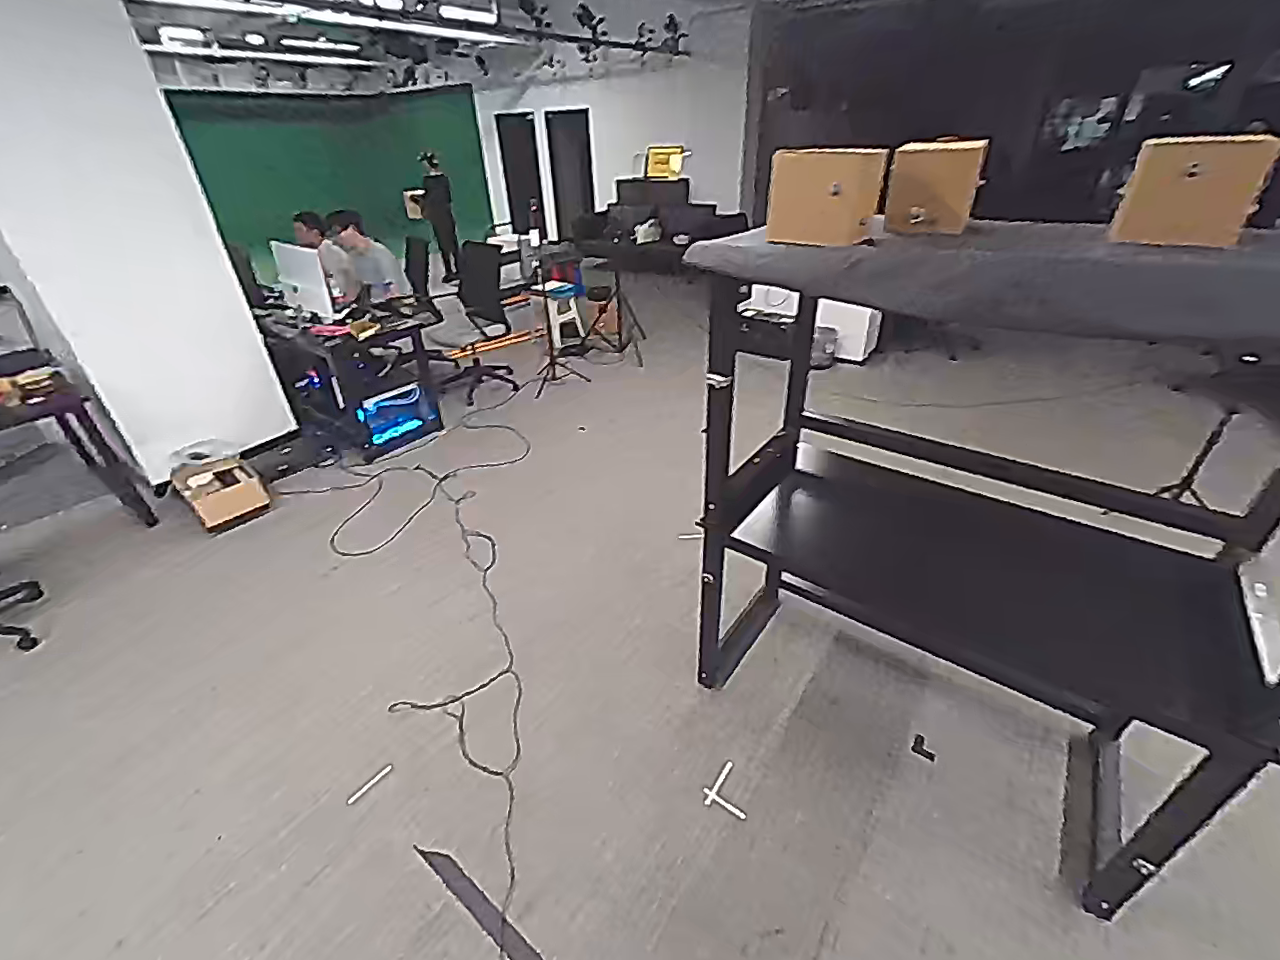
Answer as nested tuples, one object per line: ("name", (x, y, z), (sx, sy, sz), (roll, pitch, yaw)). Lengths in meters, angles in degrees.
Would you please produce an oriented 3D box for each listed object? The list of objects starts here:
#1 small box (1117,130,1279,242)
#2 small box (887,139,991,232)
("small box", (1.029, -0.546, 1.005), (0.179, 0.176, 0.168), (21, 40, 32))
("small box", (0.670, -0.665, 1.217), (0.168, 0.176, 0.179), (15, 37, 27))
